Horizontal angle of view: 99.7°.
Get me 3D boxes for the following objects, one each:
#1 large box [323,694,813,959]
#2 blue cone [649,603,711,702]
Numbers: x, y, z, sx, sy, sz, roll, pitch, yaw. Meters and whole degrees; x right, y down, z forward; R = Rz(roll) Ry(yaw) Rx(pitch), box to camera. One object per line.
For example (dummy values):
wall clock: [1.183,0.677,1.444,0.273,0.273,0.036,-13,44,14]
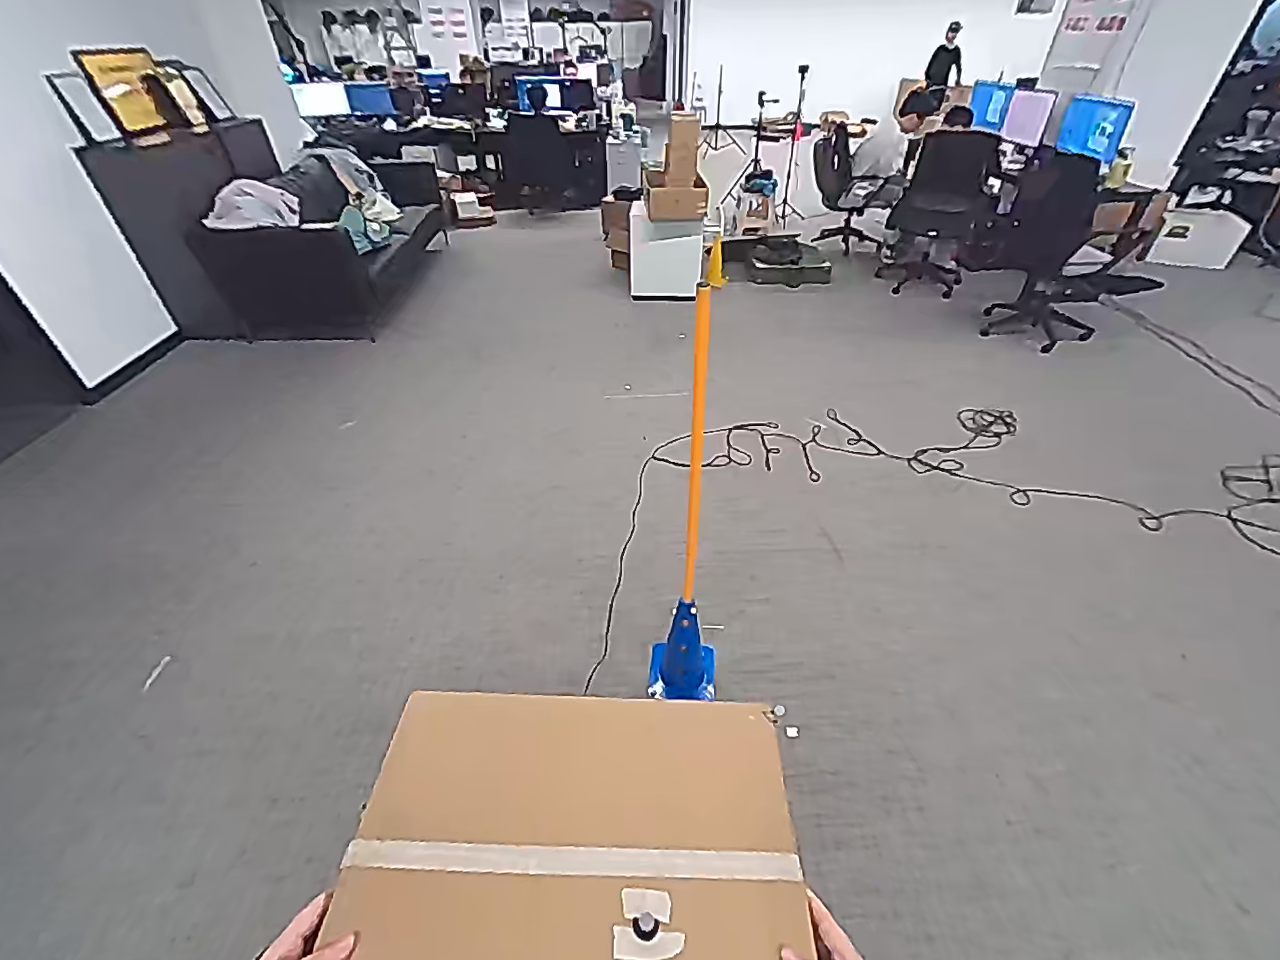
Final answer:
large box: [-0.062,0.459,0.586,0.408,0.320,0.320,2,40,0]
blue cone: [0.125,0.481,1.579,0.193,0.380,0.192,4,40,6]
